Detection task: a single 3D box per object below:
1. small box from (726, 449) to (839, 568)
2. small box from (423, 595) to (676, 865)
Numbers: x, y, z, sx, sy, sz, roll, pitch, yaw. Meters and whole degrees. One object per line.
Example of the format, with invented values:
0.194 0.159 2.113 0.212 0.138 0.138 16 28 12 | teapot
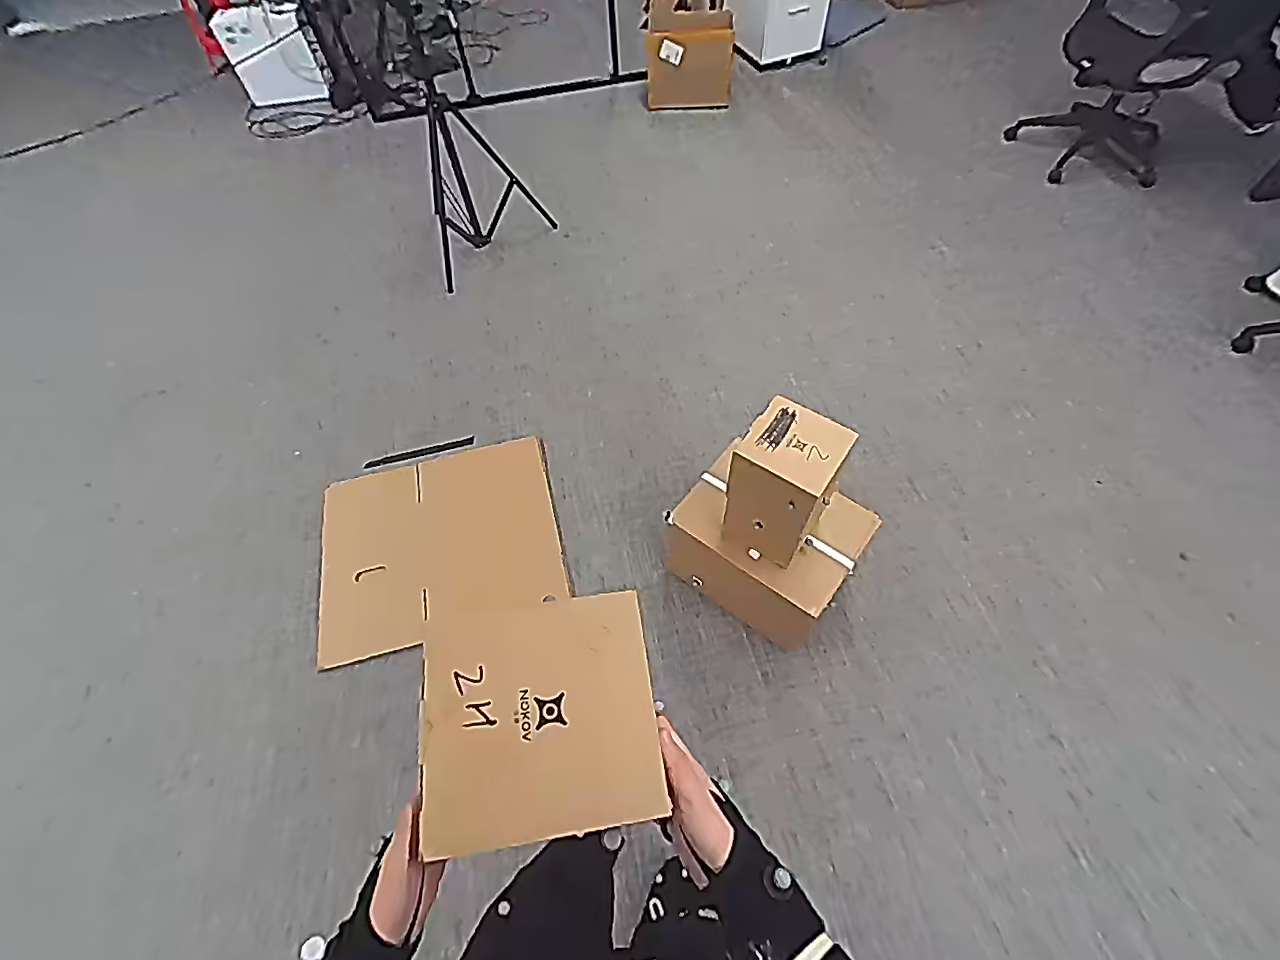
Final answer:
0.306 0.069 1.201 0.179 0.176 0.168 31 65 19 | small box
-0.075 0.212 0.476 0.179 0.176 0.168 -7 63 -6 | small box
